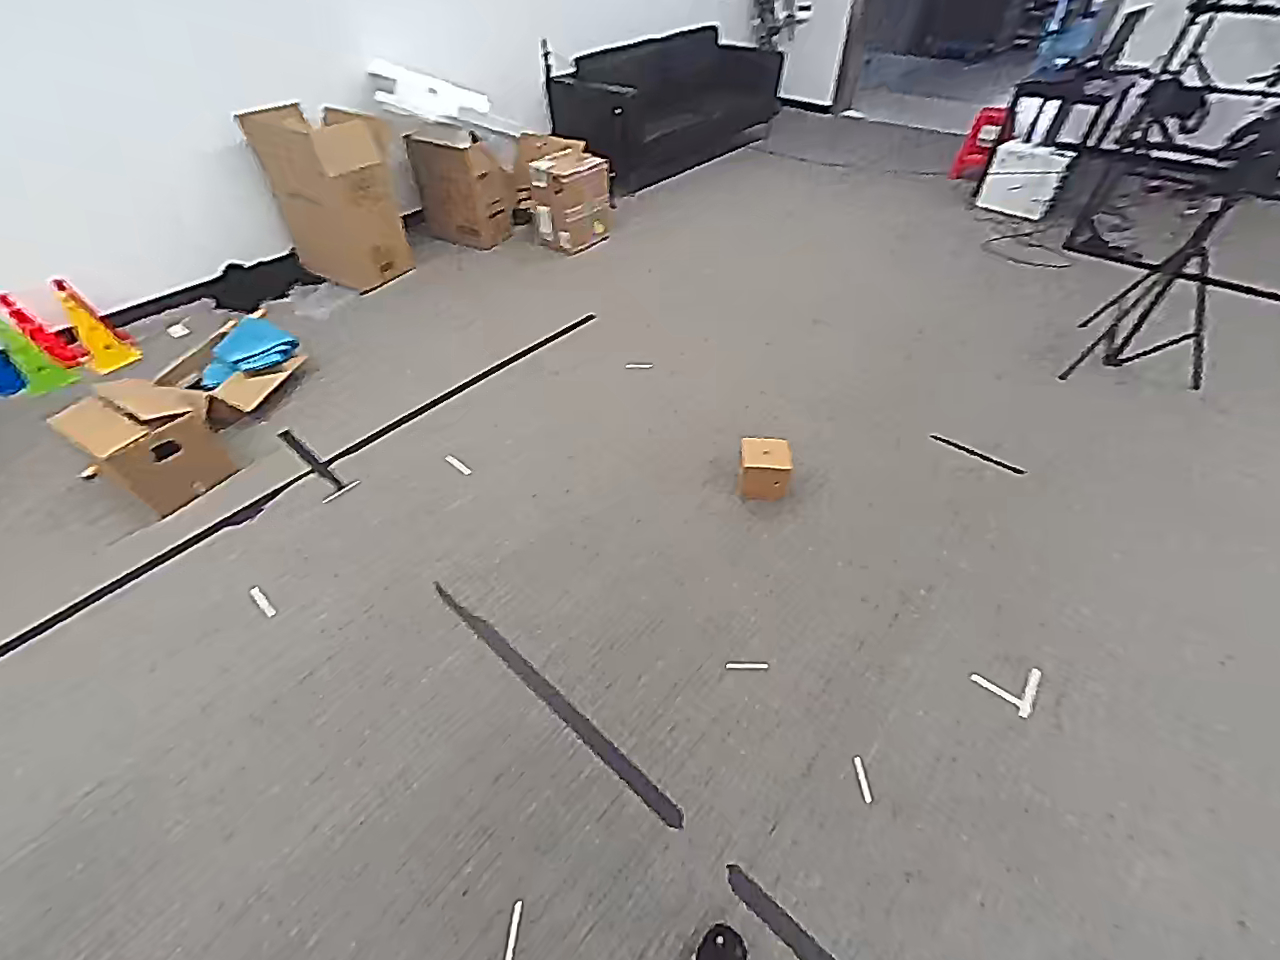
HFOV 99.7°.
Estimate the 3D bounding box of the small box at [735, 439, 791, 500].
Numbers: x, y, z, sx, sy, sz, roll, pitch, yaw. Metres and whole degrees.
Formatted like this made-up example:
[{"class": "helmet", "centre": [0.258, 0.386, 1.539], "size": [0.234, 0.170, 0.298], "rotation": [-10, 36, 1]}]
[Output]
[{"class": "small box", "centre": [0.463, -0.036, 2.059], "size": [0.179, 0.176, 0.168], "rotation": [2, 44, 4]}]
